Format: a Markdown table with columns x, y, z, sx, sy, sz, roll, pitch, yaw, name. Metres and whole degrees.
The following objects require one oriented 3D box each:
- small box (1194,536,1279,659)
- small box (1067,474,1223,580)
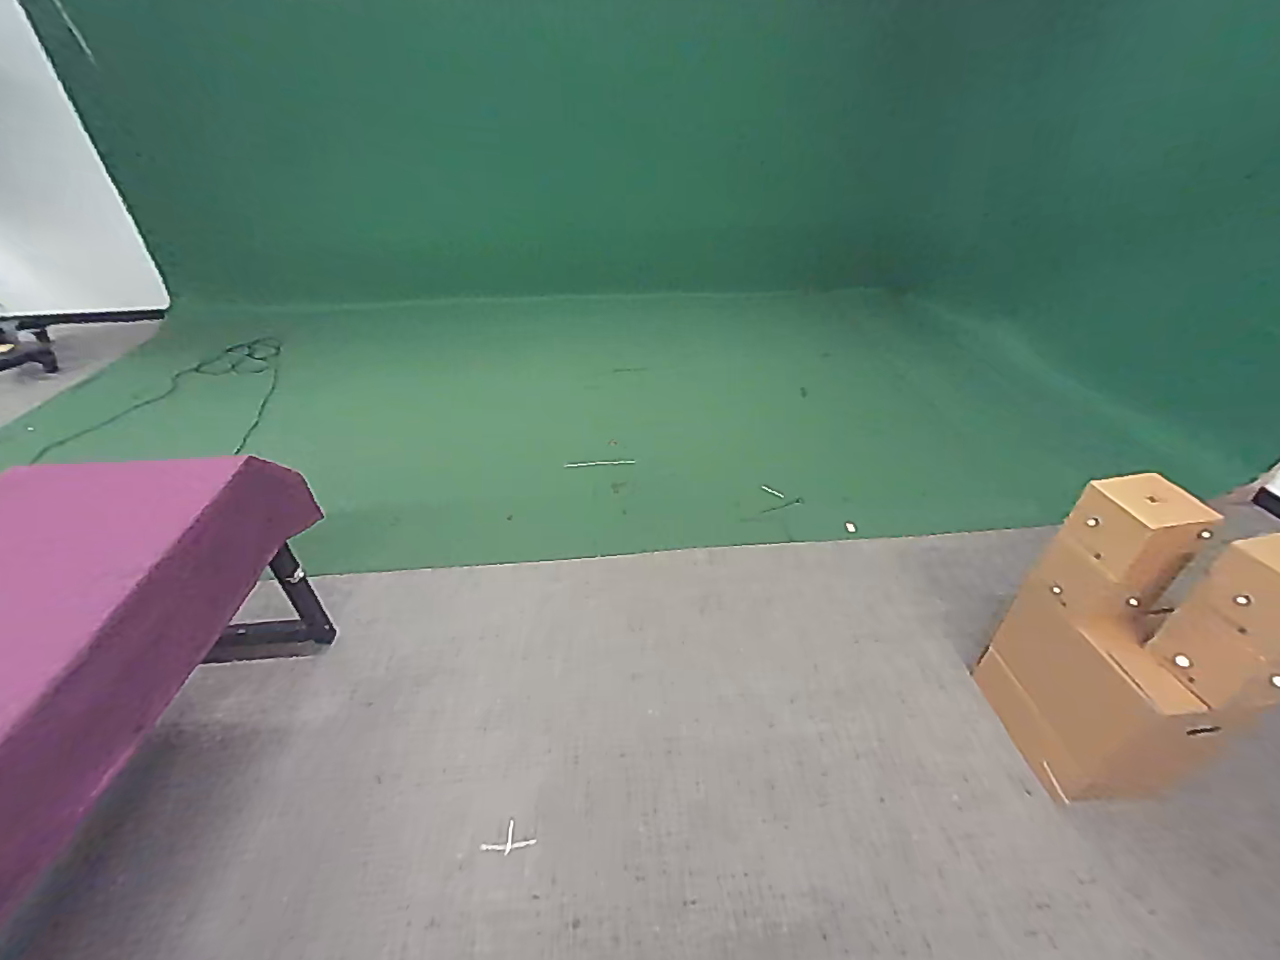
| x | y | z | sx | sy | sz | roll | pitch | yaw | name |
| --- | --- | --- | --- | --- | --- | --- | --- | --- | --- |
| 1.265 | 0.231 | 1.063 | 0.179 | 0.176 | 0.168 | -6 | 37 | -9 | small box |
| 1.124 | 0.109 | 1.228 | 0.179 | 0.176 | 0.168 | -7 | 39 | -6 | small box |
